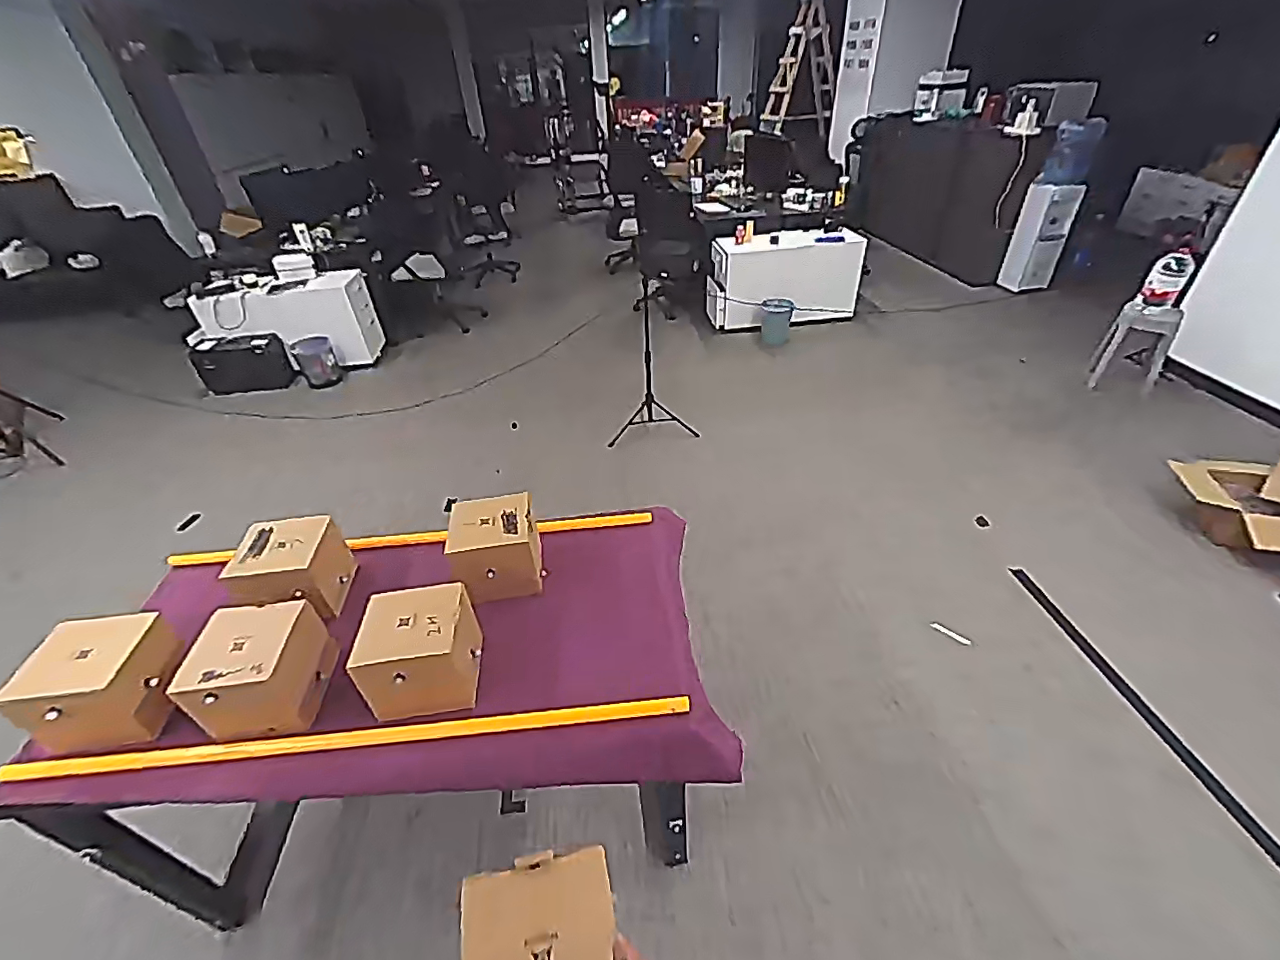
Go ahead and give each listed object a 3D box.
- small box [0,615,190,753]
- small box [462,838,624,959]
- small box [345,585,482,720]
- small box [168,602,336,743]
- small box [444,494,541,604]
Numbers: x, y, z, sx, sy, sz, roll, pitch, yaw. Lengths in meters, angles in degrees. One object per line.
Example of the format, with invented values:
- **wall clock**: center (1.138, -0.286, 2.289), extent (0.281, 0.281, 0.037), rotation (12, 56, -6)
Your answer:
- **small box**: center (-0.973, 0.374, 0.993), extent (0.179, 0.176, 0.168), rotation (-6, 37, -5)
- **small box**: center (-0.110, 0.550, 0.619), extent (0.168, 0.176, 0.179), rotation (-5, 44, -13)
- **small box**: center (-0.409, 0.322, 1.008), extent (0.179, 0.176, 0.168), rotation (-7, 36, -4)
- **small box**: center (-0.693, 0.353, 0.997), extent (0.168, 0.176, 0.179), rotation (-7, 37, -3)
- **small box**: center (-0.321, 0.156, 1.219), extent (0.179, 0.176, 0.168), rotation (-9, 39, -4)
